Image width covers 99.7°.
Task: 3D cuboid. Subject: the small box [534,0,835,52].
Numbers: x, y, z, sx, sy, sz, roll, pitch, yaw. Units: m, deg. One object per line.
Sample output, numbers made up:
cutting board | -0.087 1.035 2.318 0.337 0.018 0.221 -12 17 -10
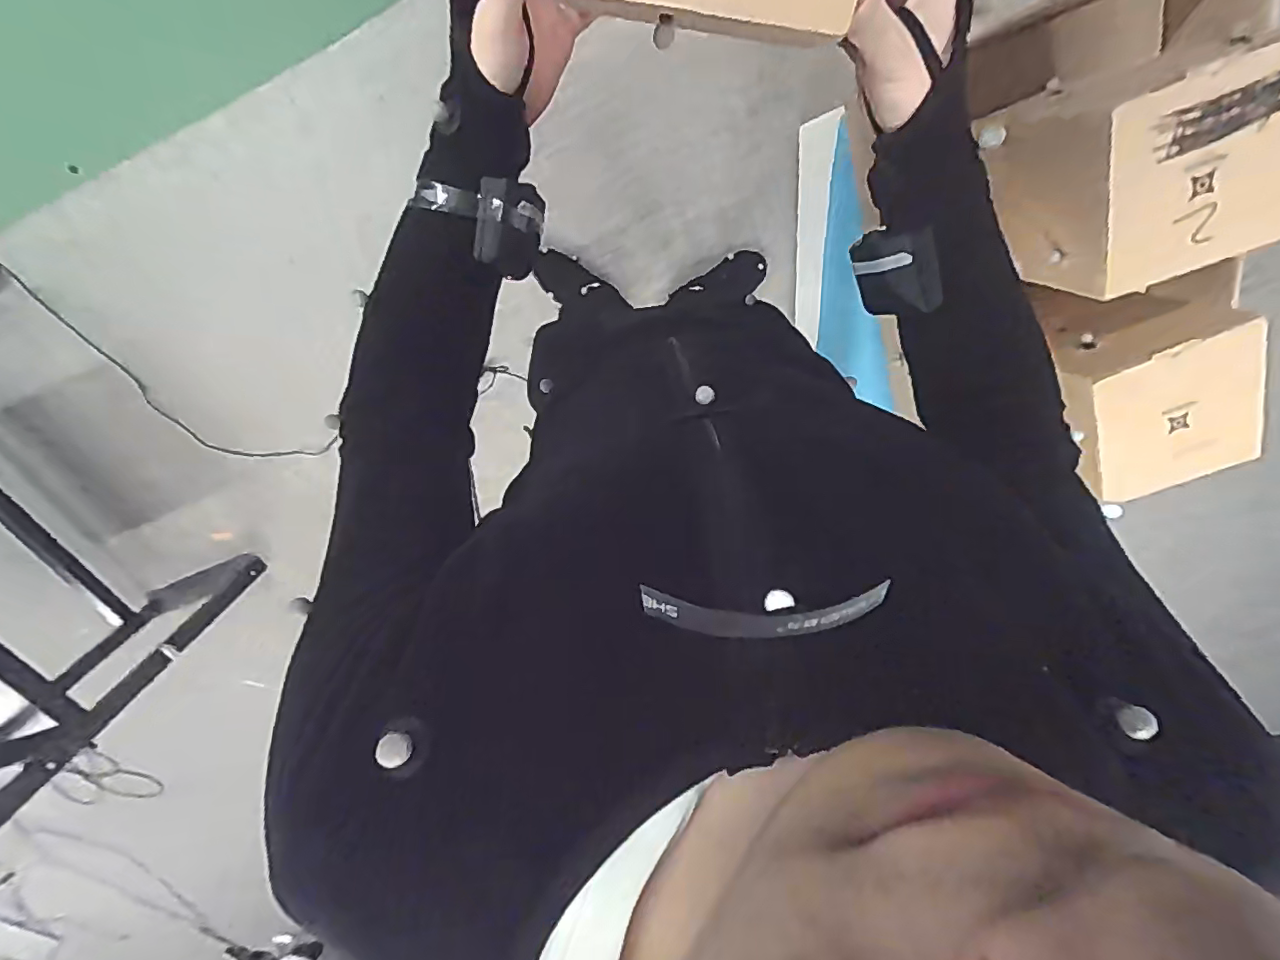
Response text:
small box | 0.032 -0.351 0.297 0.179 0.176 0.168 10 128 2

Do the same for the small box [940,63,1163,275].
small box | 0.514 -0.390 0.699 0.168 0.176 0.179 -19 117 11

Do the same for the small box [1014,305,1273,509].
small box | 0.594 -0.099 0.661 0.168 0.176 0.179 -22 114 13
